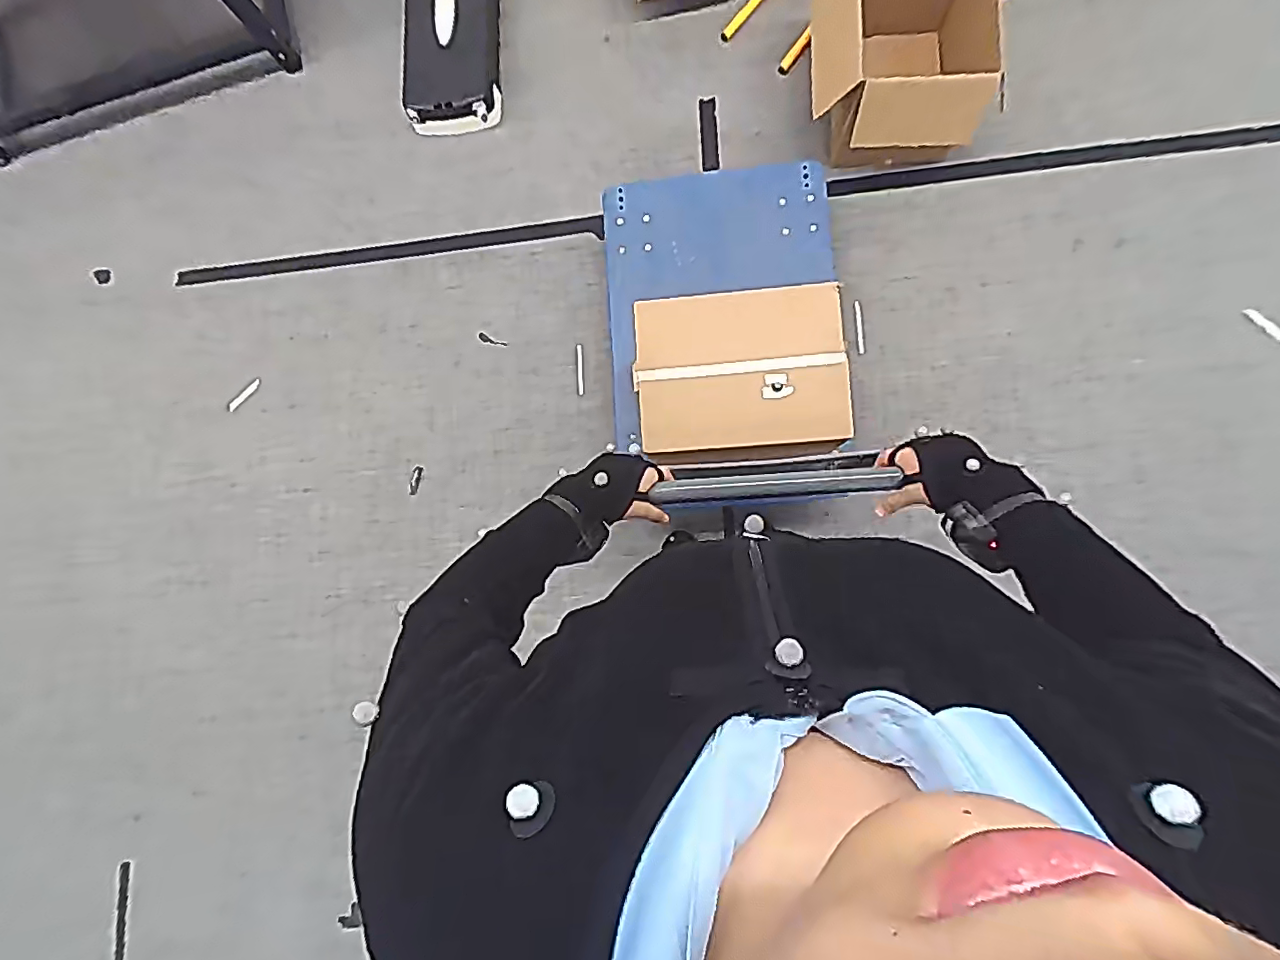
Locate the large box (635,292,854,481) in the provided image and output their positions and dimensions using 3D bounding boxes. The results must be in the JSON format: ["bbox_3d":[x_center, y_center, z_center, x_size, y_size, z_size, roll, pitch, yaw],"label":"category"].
[{"bbox_3d":[0.208,-0.181,1.193,0.408,0.320,0.320,-4,84,5],"label":"large box"}]
